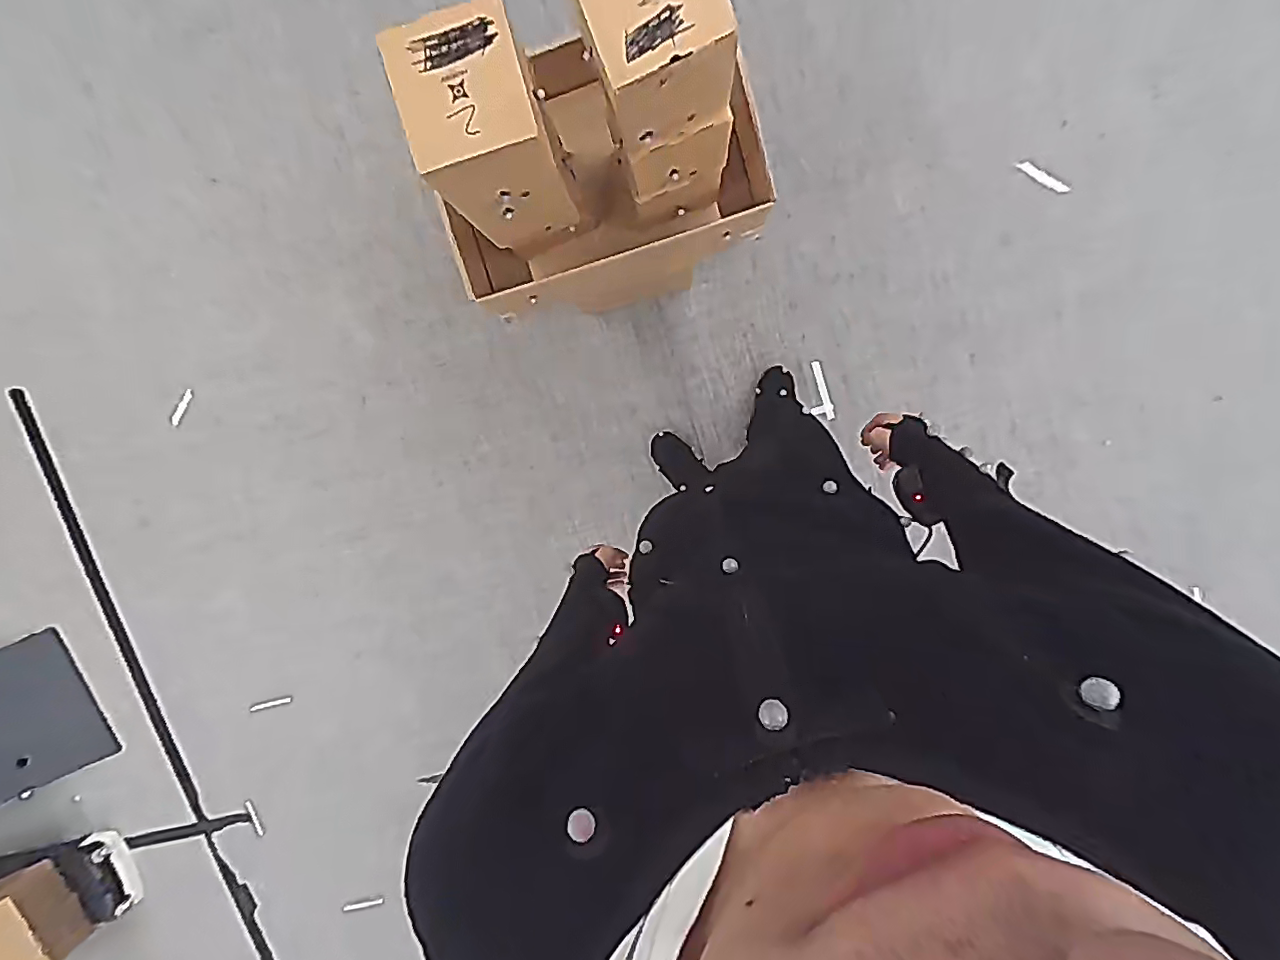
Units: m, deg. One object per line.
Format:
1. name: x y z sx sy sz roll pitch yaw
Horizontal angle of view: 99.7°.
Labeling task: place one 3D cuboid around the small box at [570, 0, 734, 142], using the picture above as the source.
1. small box: 0.014 -0.590 0.721 0.168 0.176 0.179 -22 95 7

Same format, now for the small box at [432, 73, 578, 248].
1. small box: -0.216 -0.523 0.912 0.168 0.176 0.179 -16 95 7

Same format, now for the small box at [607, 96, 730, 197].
1. small box: 0.036 -0.603 0.883 0.168 0.176 0.179 -19 97 7
